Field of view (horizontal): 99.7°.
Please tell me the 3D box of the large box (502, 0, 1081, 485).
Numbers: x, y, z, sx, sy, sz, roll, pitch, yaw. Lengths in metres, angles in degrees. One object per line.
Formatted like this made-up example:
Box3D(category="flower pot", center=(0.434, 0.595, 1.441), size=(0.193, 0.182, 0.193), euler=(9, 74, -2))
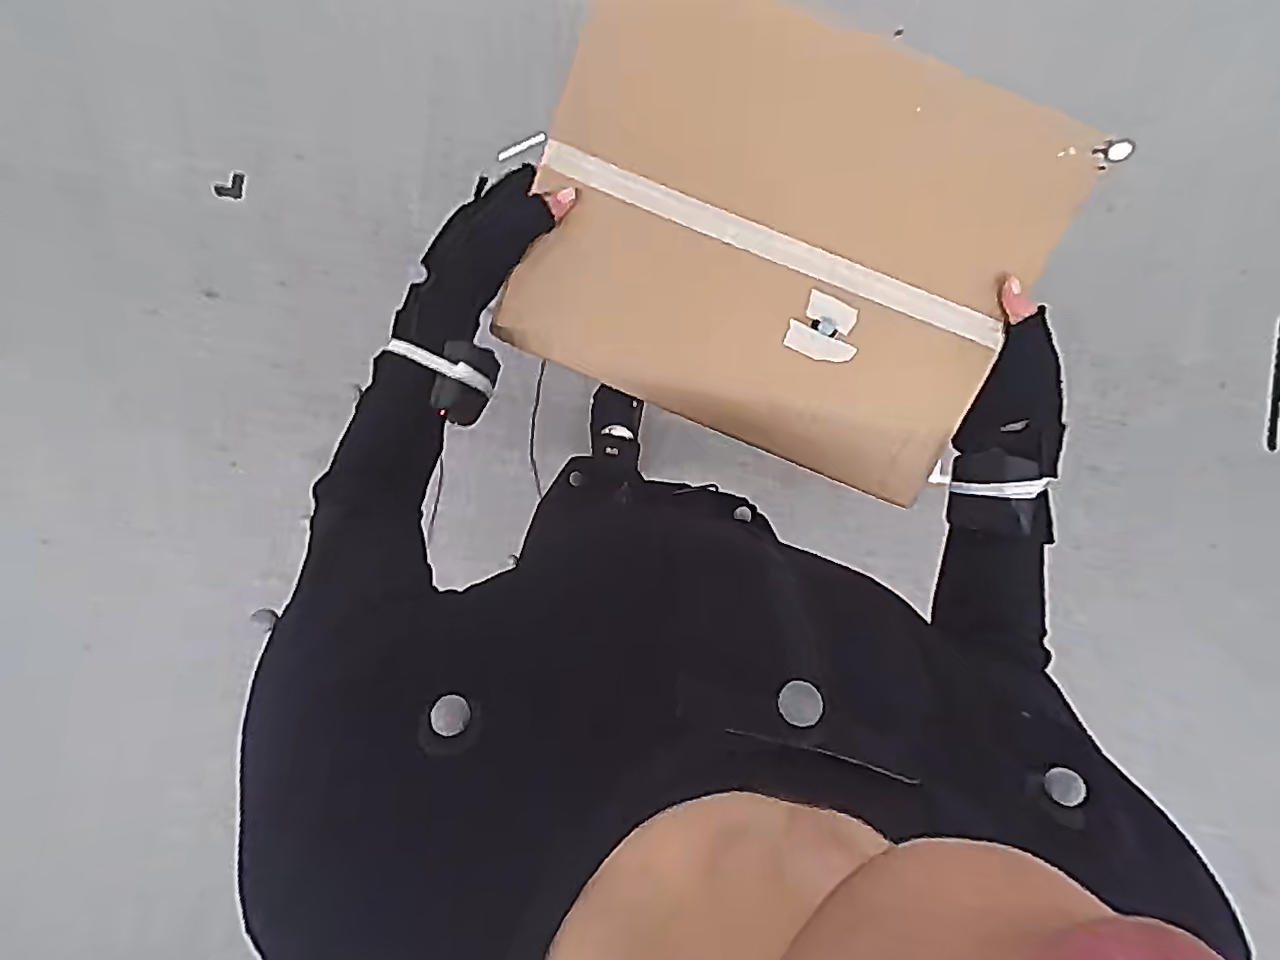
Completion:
Box3D(category="large box", center=(0.119, -0.235, 0.600), size=(0.408, 0.320, 0.320), euler=(22, 106, -1))
